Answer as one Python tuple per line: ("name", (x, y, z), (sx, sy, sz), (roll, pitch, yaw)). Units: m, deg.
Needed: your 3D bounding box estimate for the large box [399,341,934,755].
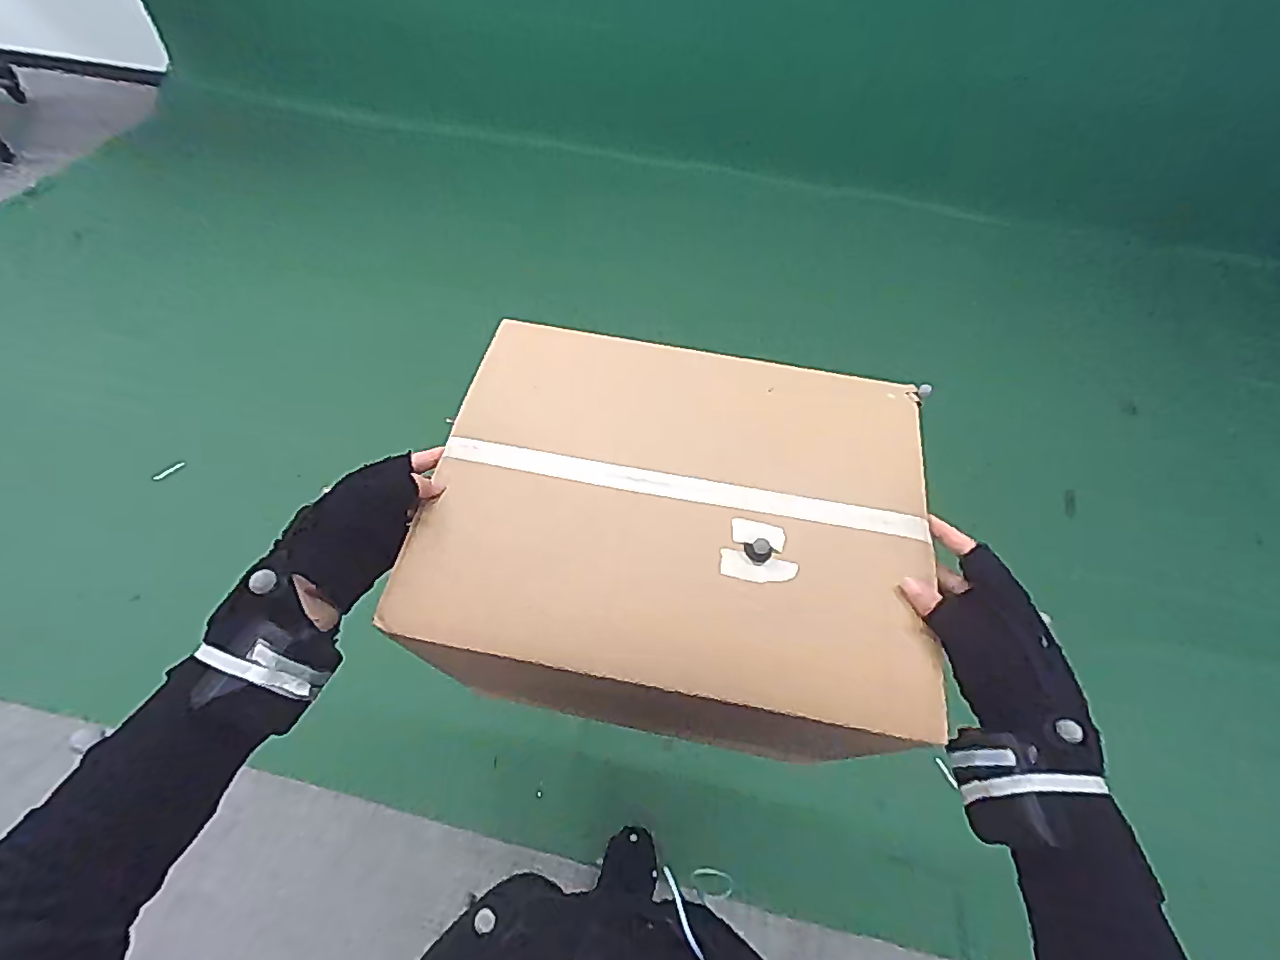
("large box", (0.031, 0.090, 0.593), (0.408, 0.320, 0.320), (10, 61, 4))
